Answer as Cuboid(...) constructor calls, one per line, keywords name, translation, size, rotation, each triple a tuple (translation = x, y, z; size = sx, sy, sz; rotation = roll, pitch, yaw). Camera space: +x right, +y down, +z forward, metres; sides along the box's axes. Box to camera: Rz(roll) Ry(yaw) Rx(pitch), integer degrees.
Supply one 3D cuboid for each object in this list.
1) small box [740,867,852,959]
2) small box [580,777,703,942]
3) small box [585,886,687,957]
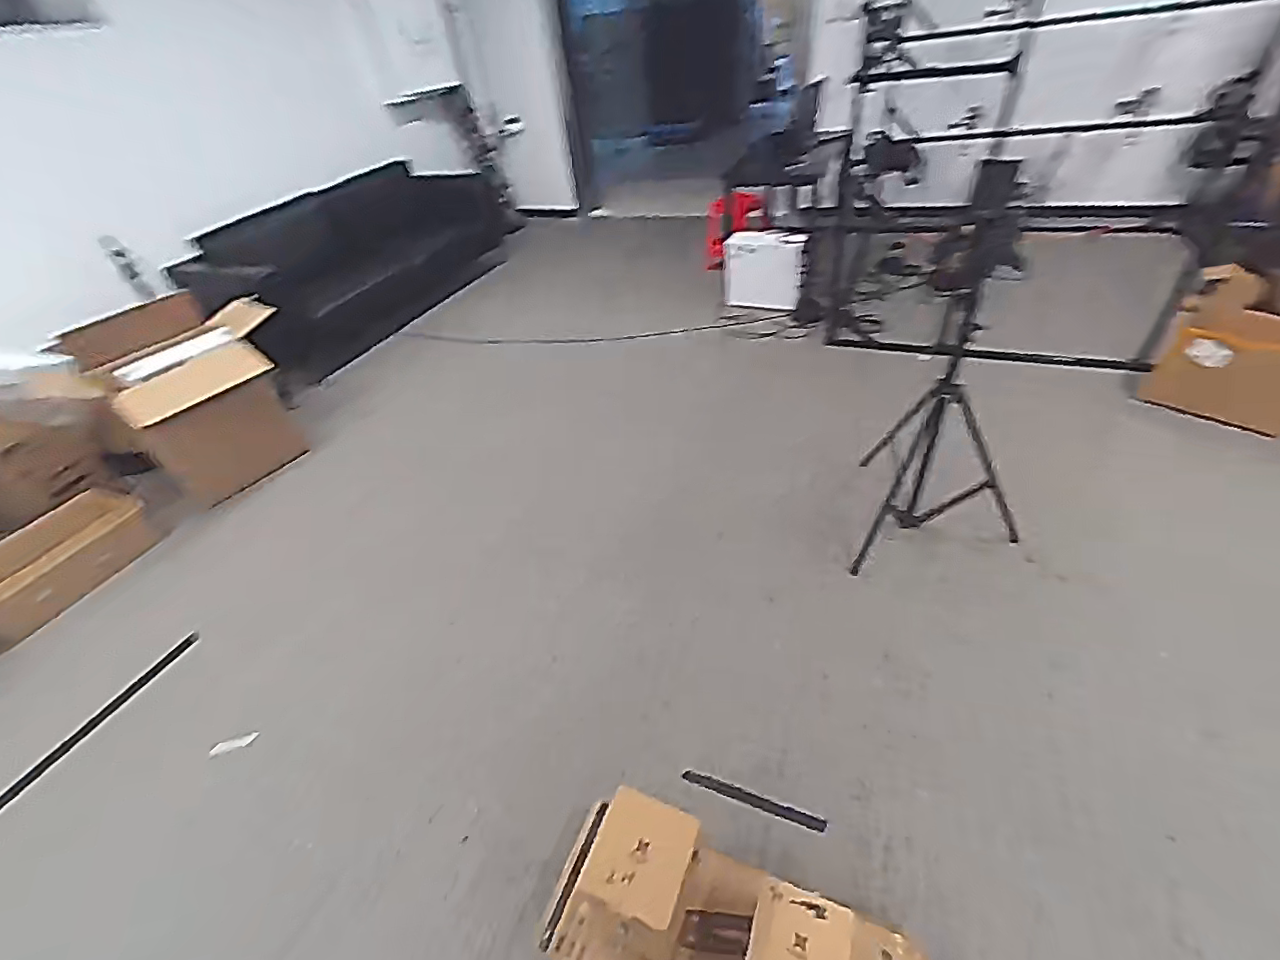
Cuboid(name="small box", translation=(0.287, 0.871, 1.001), size=(0.168, 0.176, 0.179), rotation=(11, 44, 24))
Cuboid(name="small box", translation=(0.011, 0.696, 0.994), size=(0.168, 0.176, 0.179), rotation=(13, 44, 22))
Cuboid(name="small box", translation=(0.007, 0.821, 1.104), size=(0.168, 0.176, 0.179), rotation=(11, 45, 21))
